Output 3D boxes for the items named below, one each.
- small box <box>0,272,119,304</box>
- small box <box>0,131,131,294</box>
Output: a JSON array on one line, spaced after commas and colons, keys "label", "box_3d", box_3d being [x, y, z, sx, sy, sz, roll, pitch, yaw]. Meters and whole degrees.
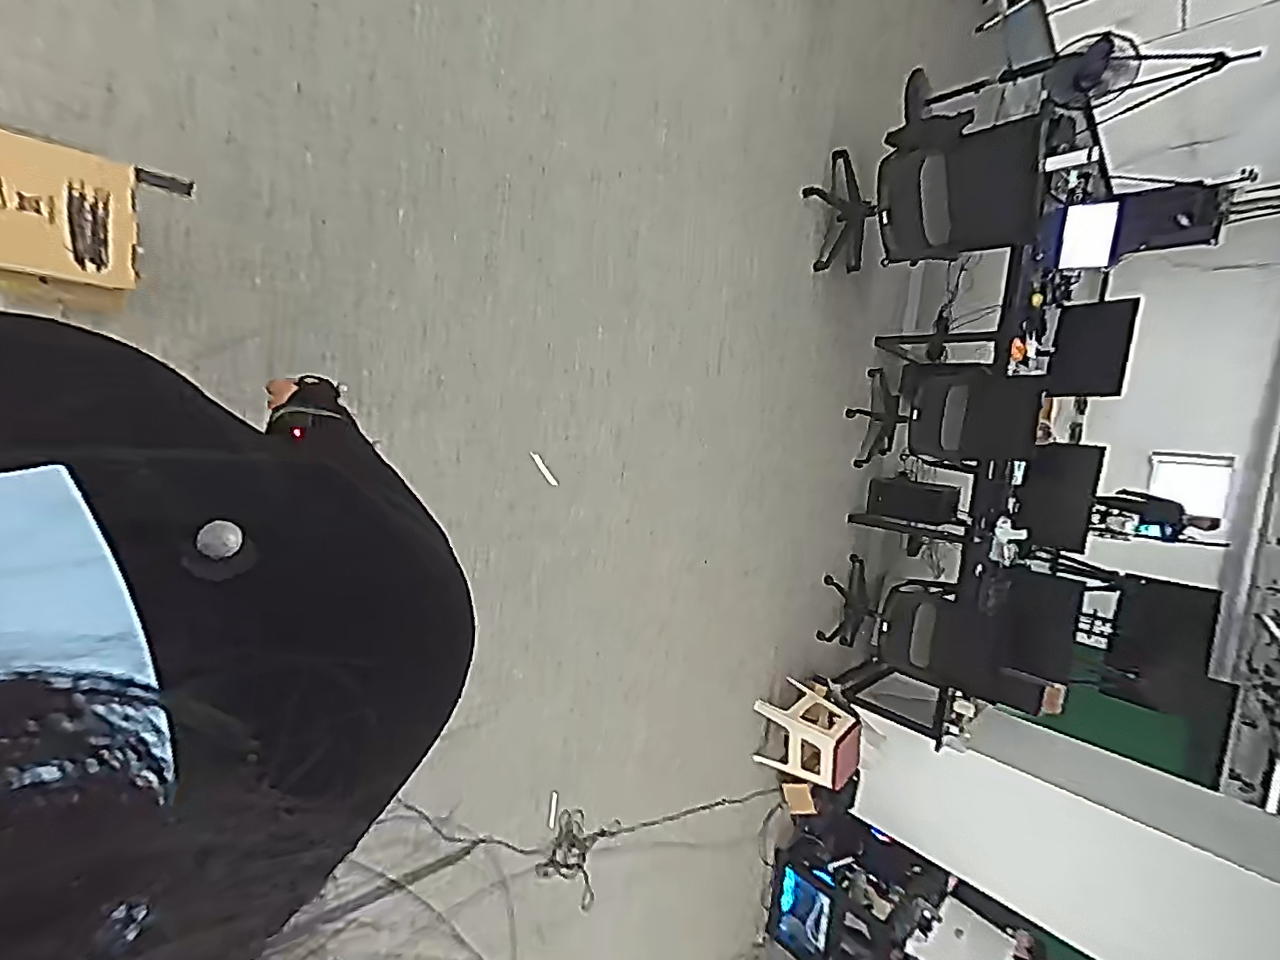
[{"label": "small box", "box_3d": [-1.029, -0.417, 0.950, 0.168, 0.176, 0.179, 0, 98, -45]}, {"label": "small box", "box_3d": [-0.911, -0.403, 0.838, 0.168, 0.176, 0.179, 3, 97, -45]}]
